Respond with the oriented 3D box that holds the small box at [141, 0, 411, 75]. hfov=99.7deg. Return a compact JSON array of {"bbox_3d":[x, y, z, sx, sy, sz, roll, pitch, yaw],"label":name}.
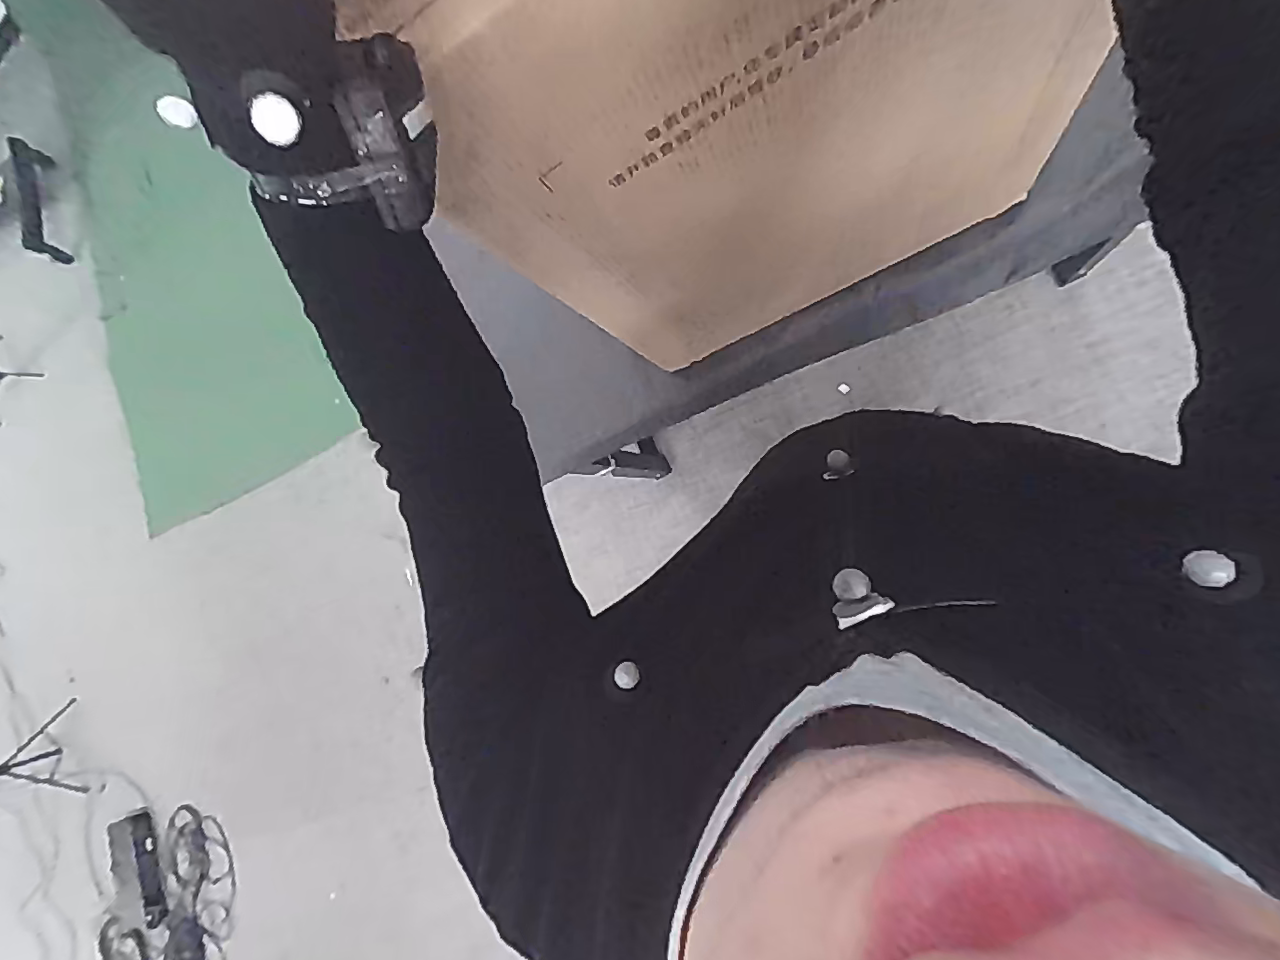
[{"bbox_3d":[-0.179,-0.314,0.214,0.168,0.176,0.179,-20,82,21],"label":"small box"}]
